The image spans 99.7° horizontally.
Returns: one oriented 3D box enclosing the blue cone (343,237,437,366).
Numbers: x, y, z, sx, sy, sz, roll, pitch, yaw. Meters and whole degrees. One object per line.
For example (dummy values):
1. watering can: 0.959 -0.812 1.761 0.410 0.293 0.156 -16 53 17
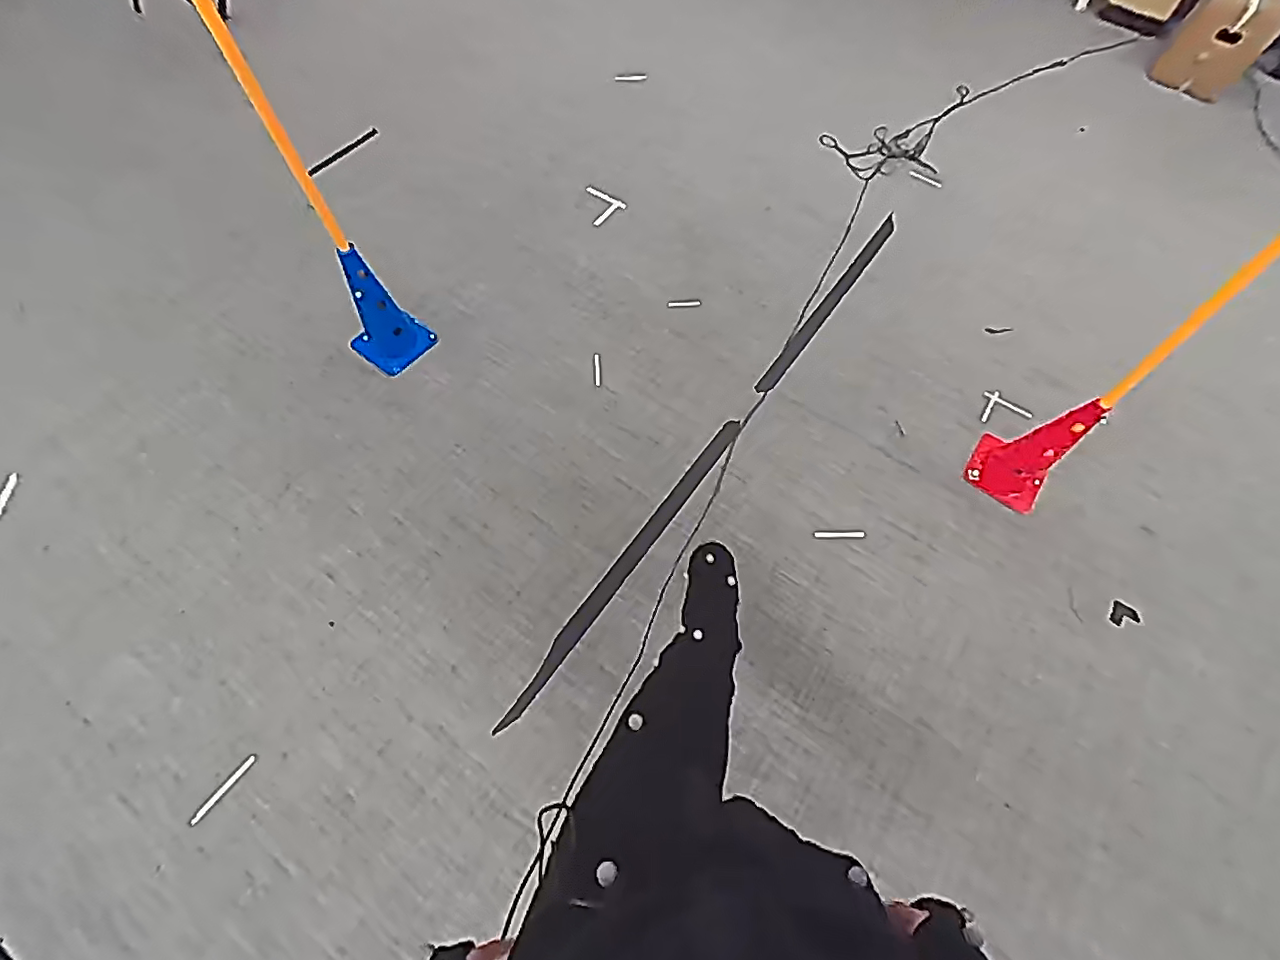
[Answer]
1. blue cone: -0.751 -0.517 1.534 0.193 0.380 0.192 37 67 14
